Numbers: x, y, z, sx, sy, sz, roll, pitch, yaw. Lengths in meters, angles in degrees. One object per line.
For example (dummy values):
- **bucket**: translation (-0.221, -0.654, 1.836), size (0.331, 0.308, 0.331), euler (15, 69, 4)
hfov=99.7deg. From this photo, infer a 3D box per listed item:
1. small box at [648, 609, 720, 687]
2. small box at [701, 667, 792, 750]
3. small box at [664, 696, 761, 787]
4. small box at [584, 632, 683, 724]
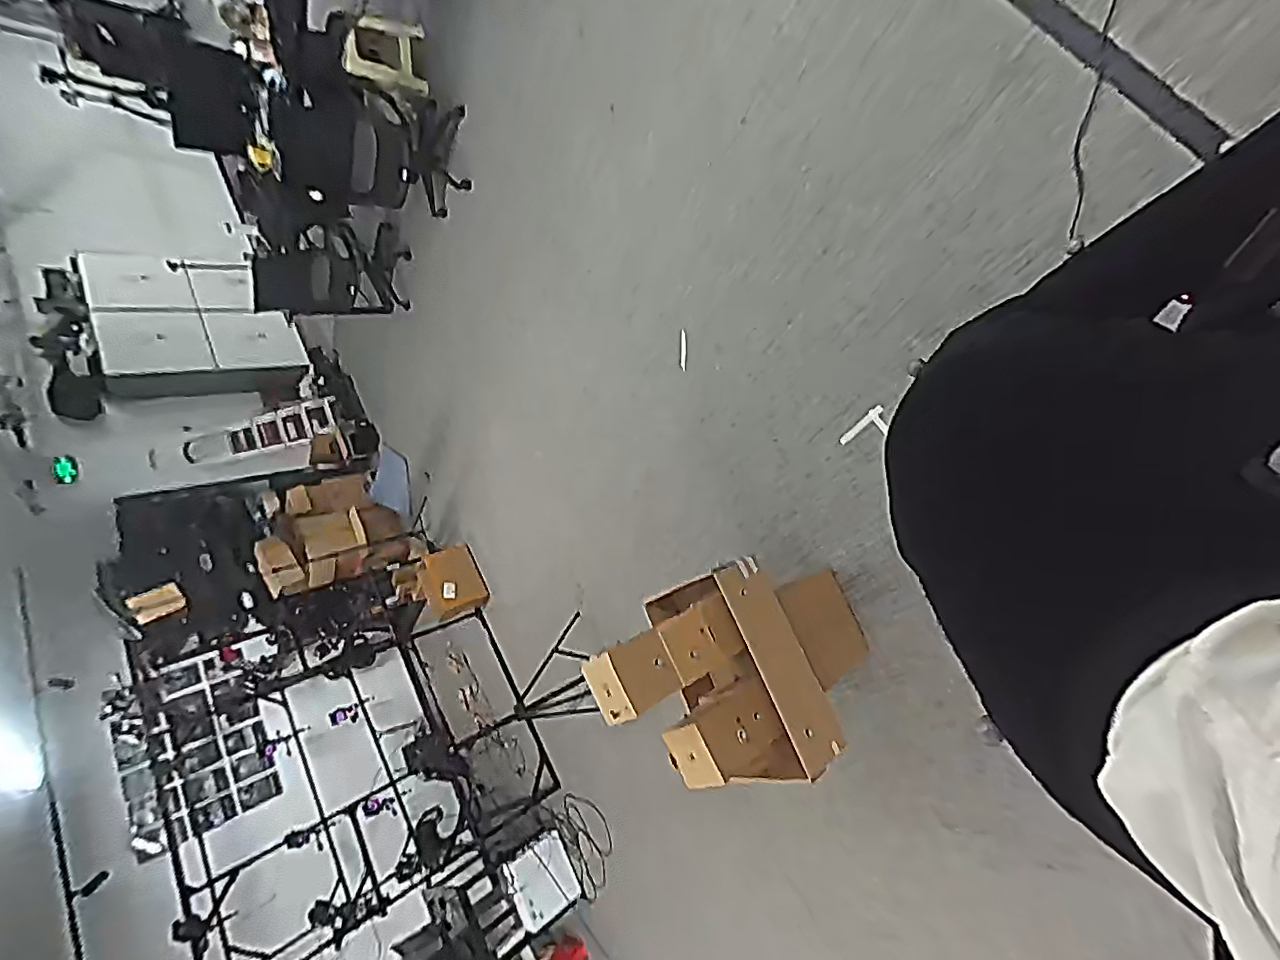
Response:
- **small box**: translation (0.107, 0.492, 1.562), size (0.179, 0.176, 0.168), euler (-41, 71, 48)
- **small box**: translation (0.324, 0.693, 1.631), size (0.168, 0.176, 0.179), euler (-41, 70, 47)
- **small box**: translation (0.206, 0.736, 1.525), size (0.179, 0.176, 0.168), euler (-45, 70, 47)
- **small box**: translation (-0.017, 0.527, 1.460), size (0.168, 0.176, 0.179), euler (-43, 69, 48)
